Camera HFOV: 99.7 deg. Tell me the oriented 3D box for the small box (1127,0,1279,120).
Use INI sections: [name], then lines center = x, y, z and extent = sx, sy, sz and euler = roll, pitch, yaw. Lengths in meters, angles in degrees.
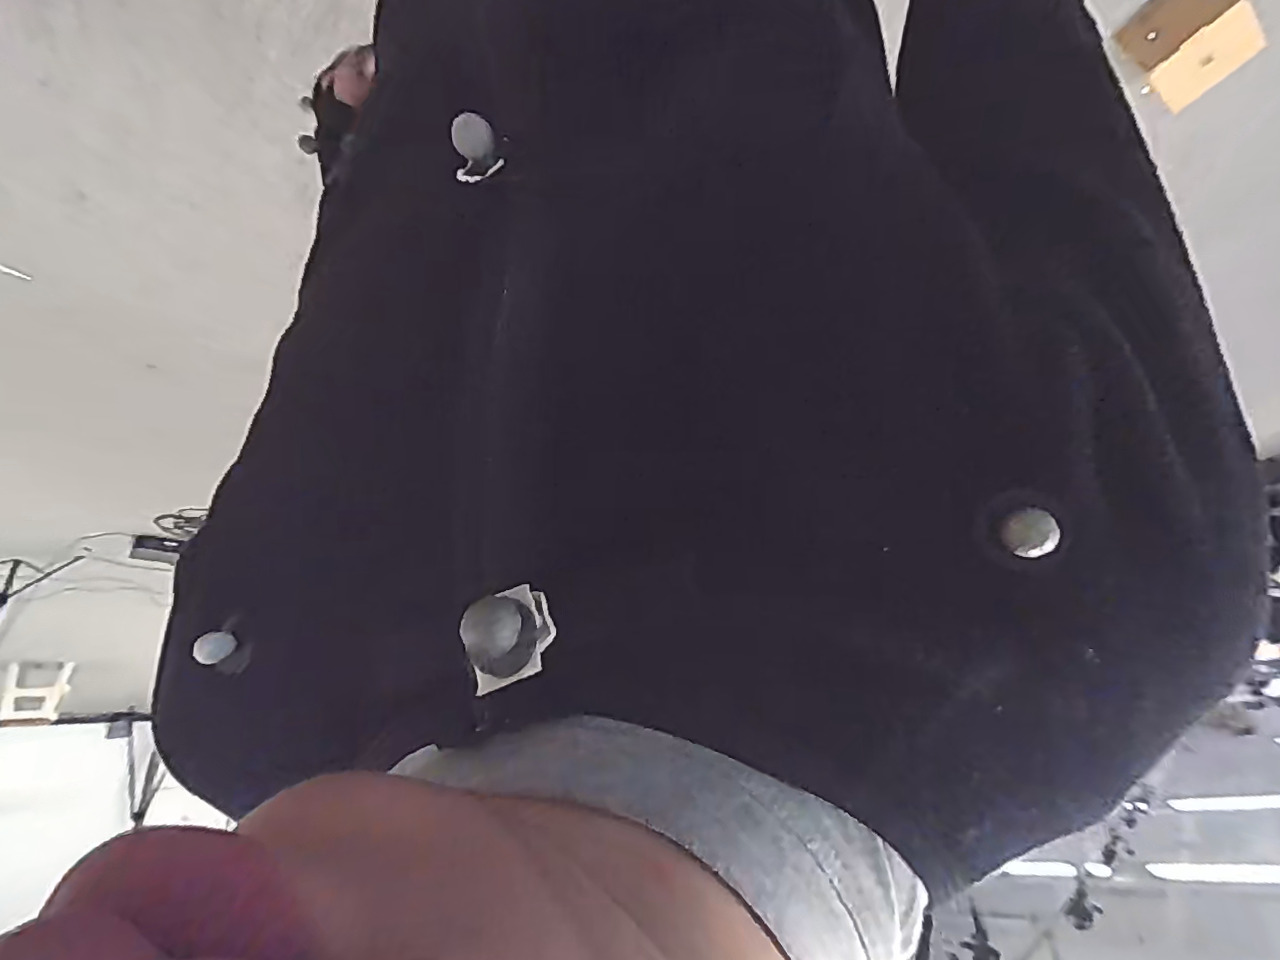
[small box]
center = 1.243, -0.962, 1.201
extent = 0.179, 0.176, 0.168
euler = 8, 150, -30
